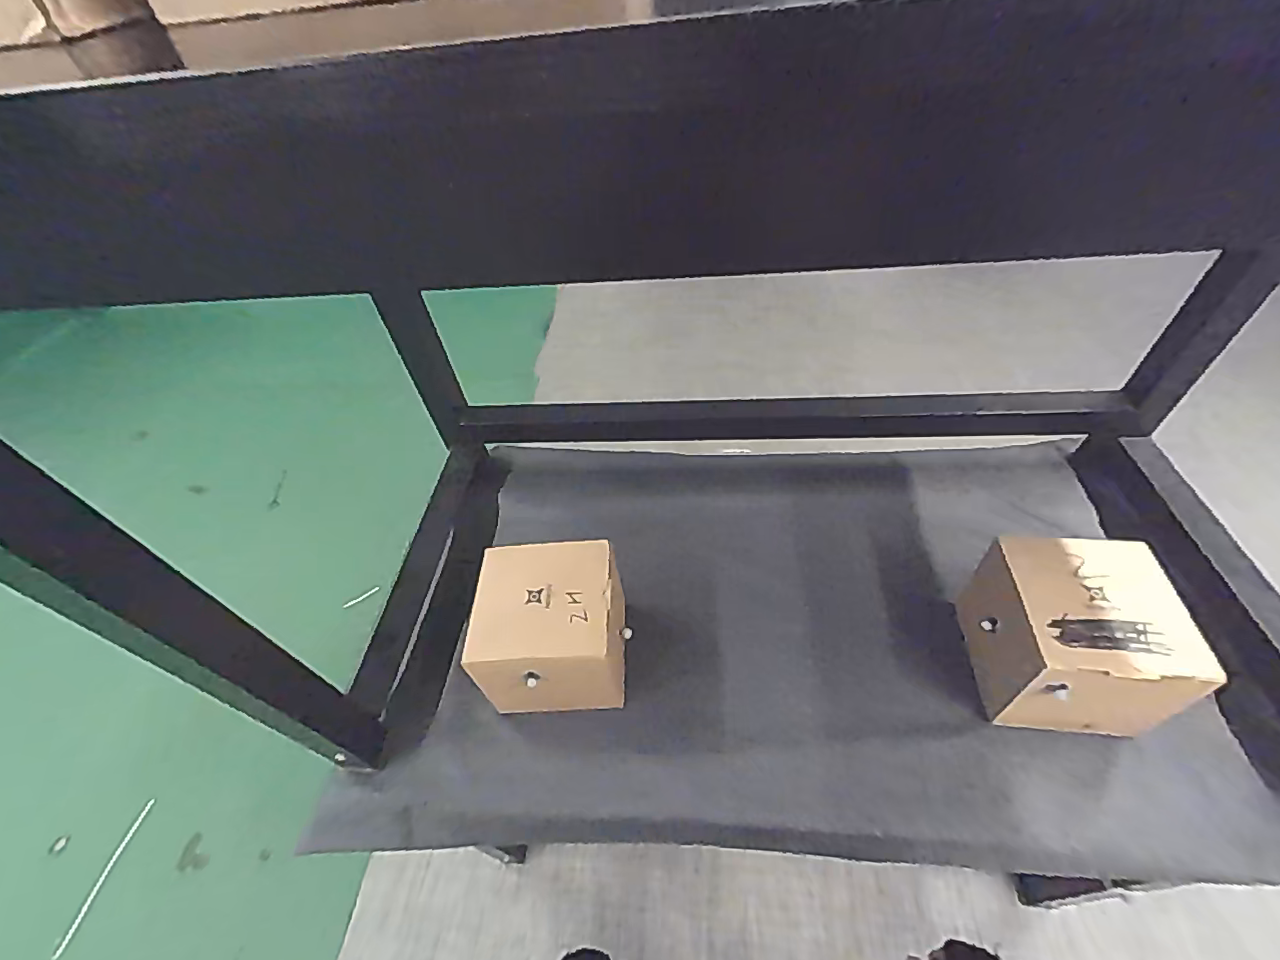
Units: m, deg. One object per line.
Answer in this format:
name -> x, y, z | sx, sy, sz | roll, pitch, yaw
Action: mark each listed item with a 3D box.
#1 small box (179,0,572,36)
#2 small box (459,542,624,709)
small box -> -0.093, -0.271, 0.182 | 0.168, 0.176, 0.179 | -1, 47, 6
small box -> -0.121, 0.204, 0.743 | 0.179, 0.176, 0.168 | -3, 48, 4
